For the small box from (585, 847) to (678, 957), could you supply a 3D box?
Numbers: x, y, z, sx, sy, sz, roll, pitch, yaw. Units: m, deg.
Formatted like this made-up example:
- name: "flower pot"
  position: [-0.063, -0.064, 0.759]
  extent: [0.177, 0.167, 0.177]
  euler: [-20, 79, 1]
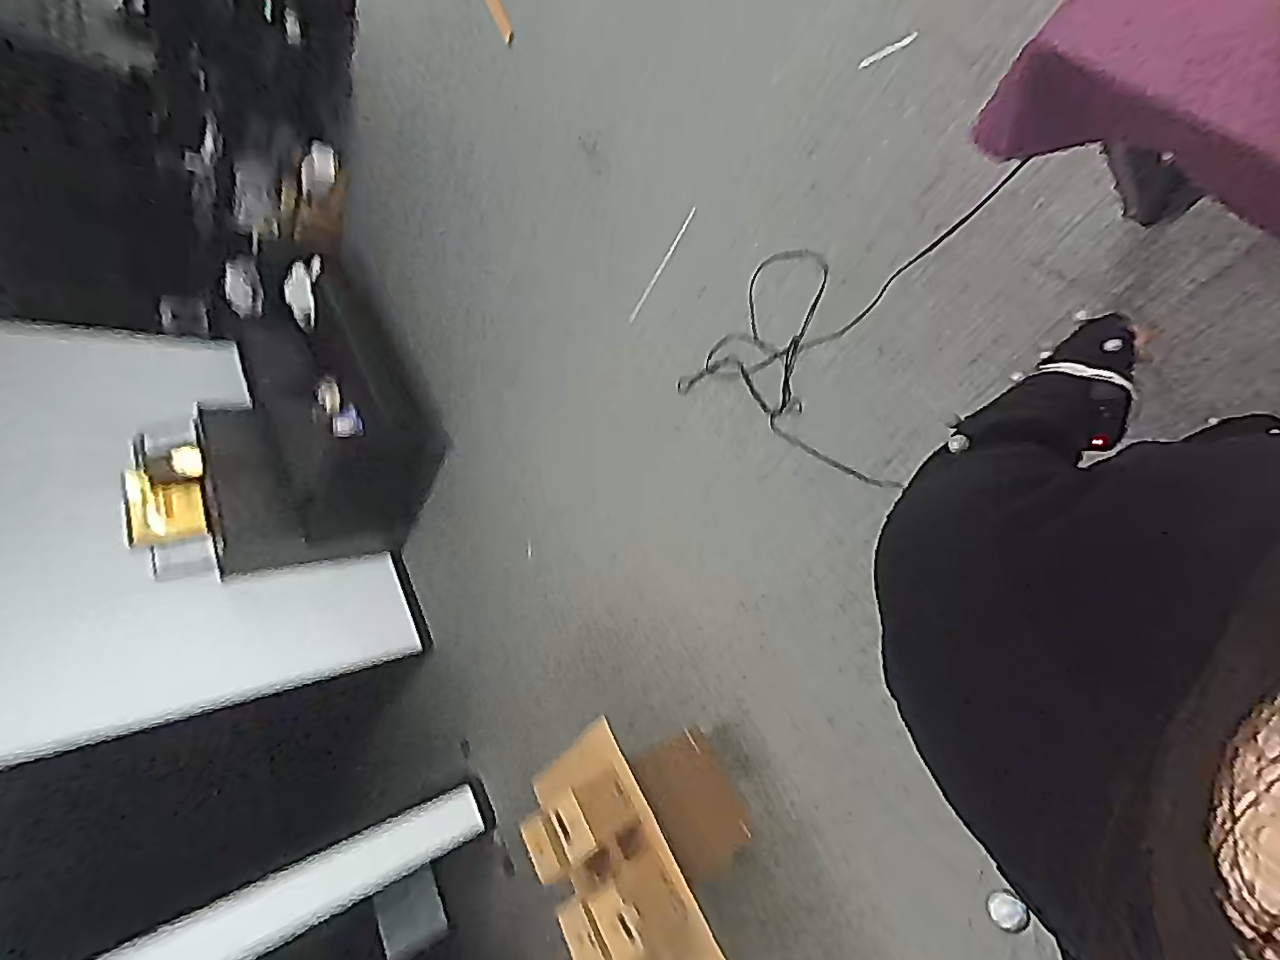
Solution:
- name: "small box"
  position: [-0.019, 1.175, 1.516]
  extent: [0.168, 0.176, 0.179]
  euler: [54, 128, 30]

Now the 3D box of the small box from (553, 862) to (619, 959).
- name: "small box"
  position: [-0.133, 1.308, 1.642]
  extent: [0.168, 0.176, 0.179]
  euler: [55, 130, 27]
